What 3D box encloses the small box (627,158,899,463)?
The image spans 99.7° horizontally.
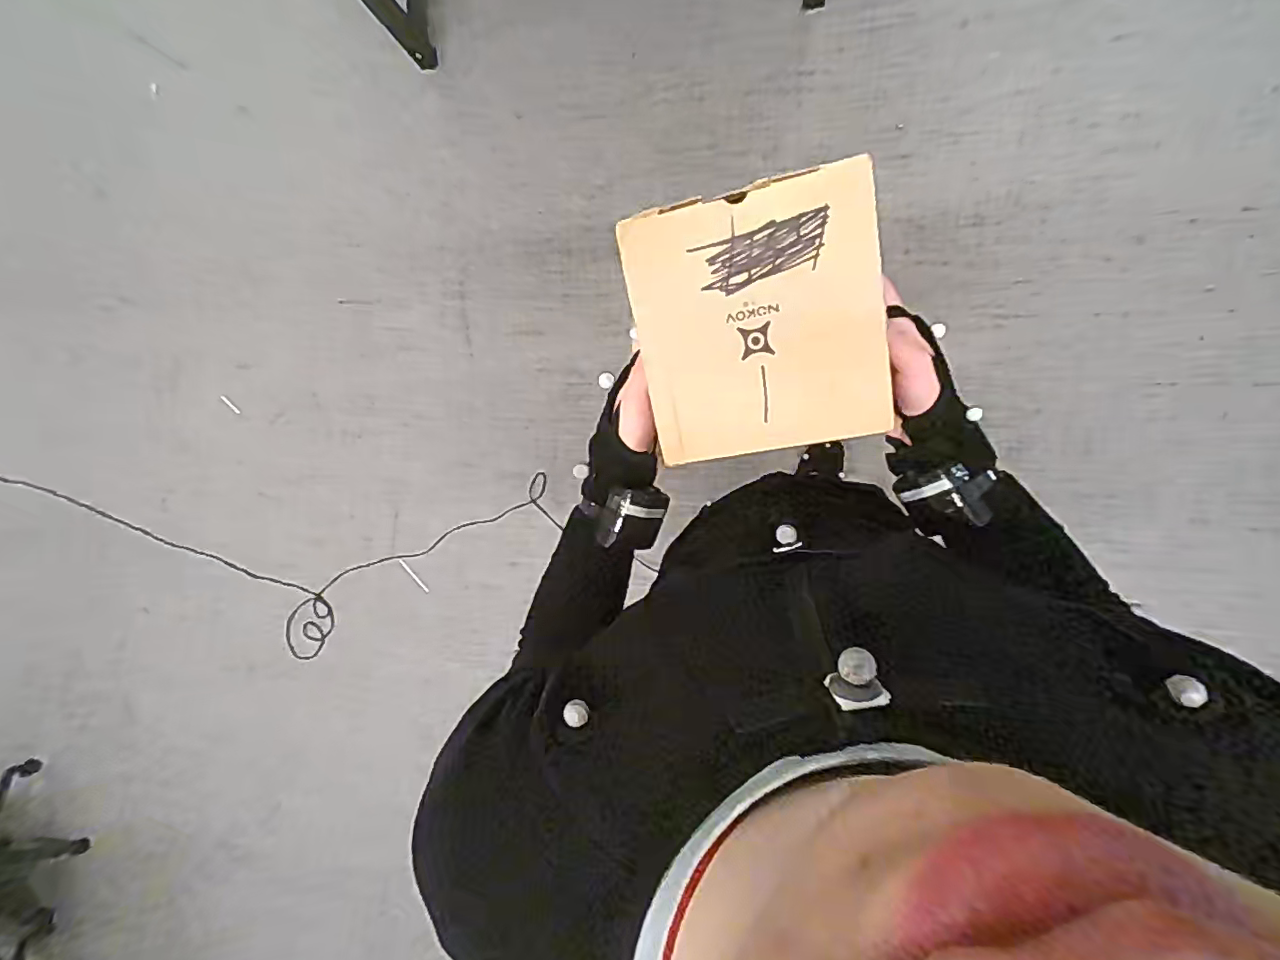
[{"bbox_3d":[0.099,-0.128,0.442,0.168,0.176,0.179,-8,107,14],"label":"small box"}]
